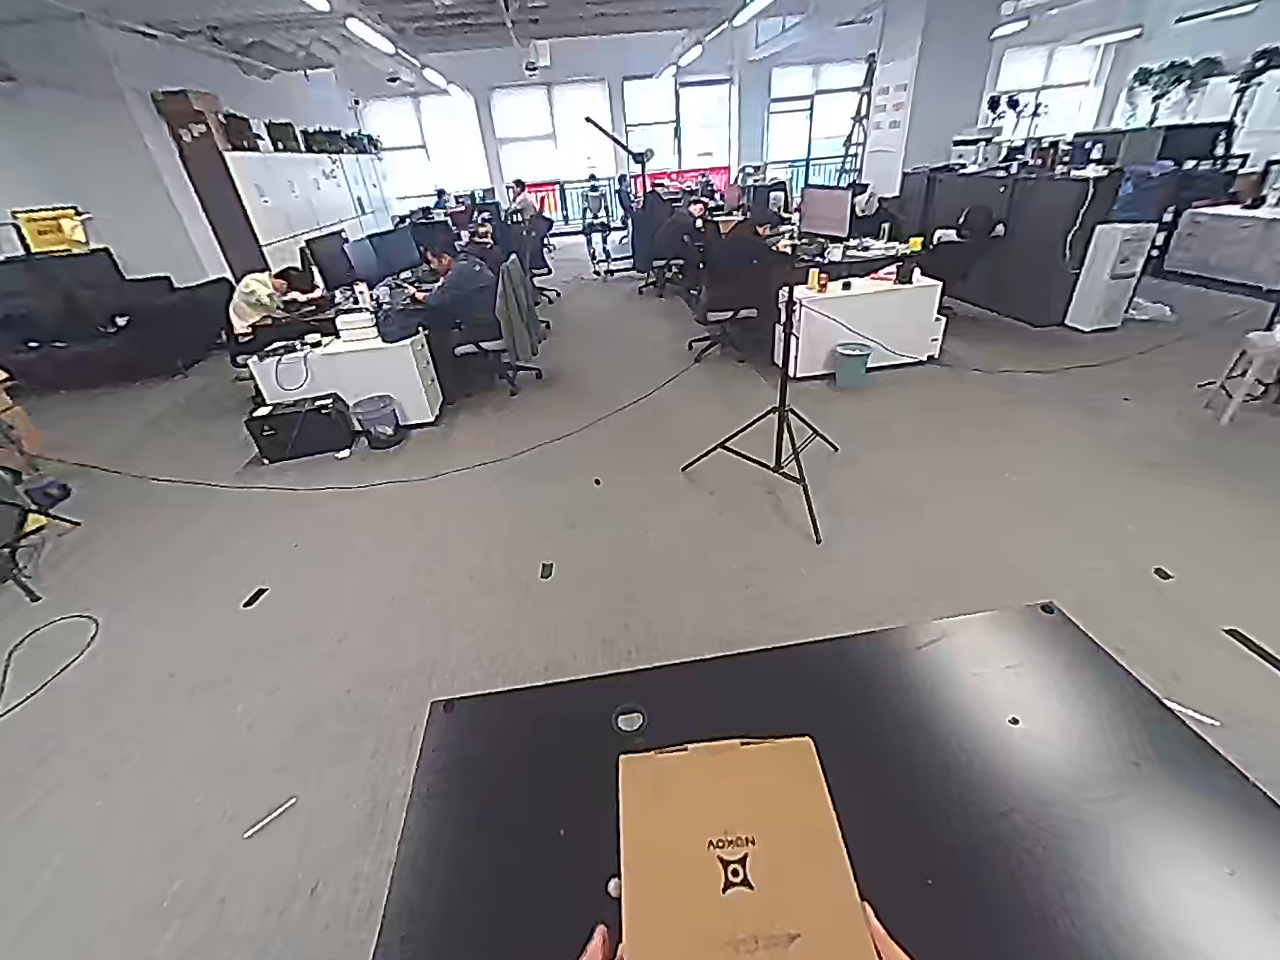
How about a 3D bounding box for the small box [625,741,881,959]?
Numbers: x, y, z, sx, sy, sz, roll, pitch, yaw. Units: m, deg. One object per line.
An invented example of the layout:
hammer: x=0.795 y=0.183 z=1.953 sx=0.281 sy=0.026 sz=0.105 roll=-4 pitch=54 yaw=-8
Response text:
small box: x=0.077 y=0.342 z=0.440 sx=0.168 sy=0.176 sz=0.179 roll=-6 pitch=40 yaw=1
